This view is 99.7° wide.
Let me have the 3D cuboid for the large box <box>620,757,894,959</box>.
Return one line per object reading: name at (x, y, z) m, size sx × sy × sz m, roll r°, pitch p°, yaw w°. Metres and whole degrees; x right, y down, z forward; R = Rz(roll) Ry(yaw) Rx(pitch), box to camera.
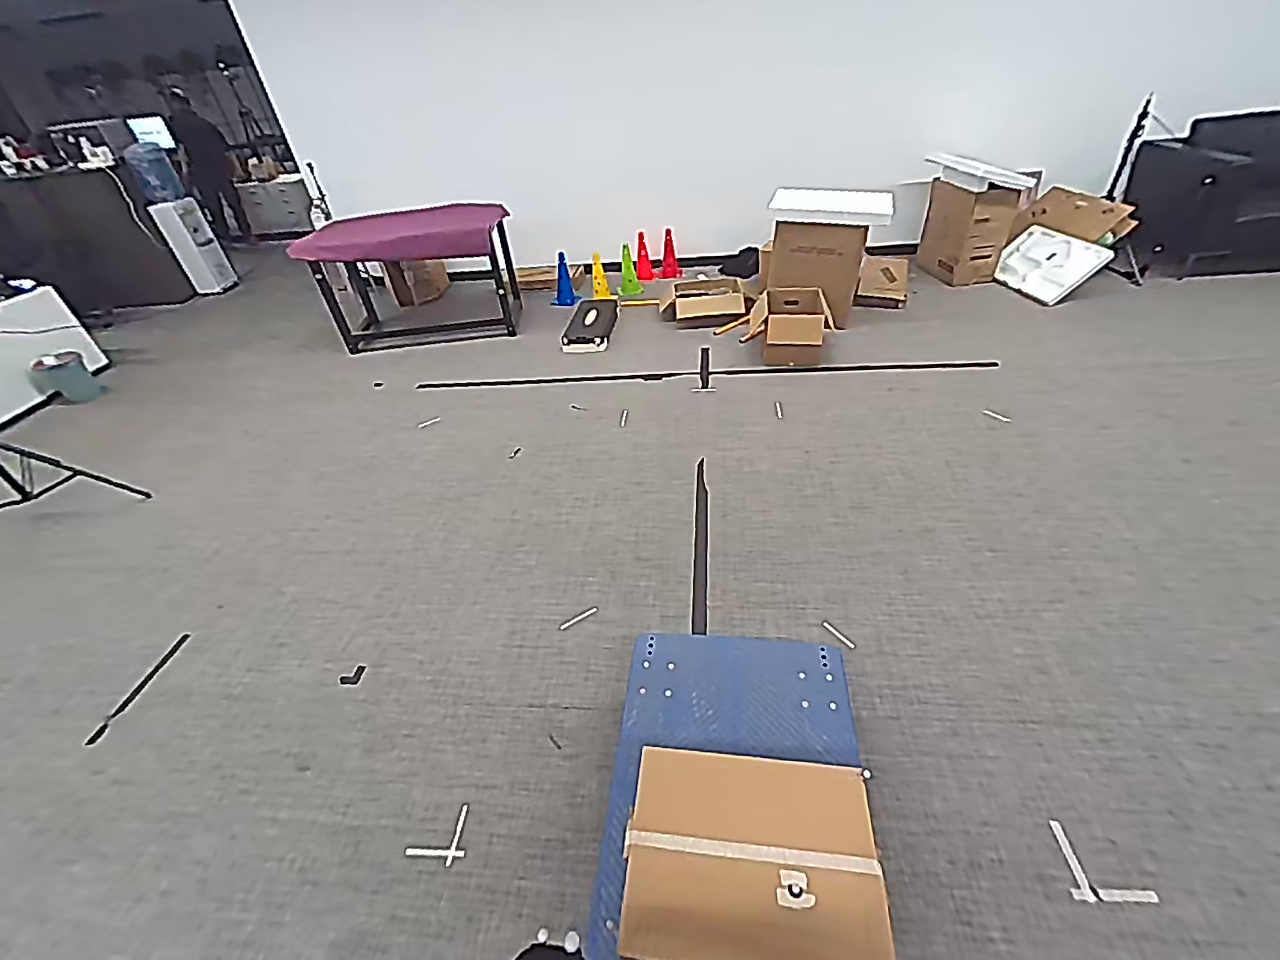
large box at (0.190, 0.741, 0.973) m, size 0.408 × 0.320 × 0.320 m, roll 2°, pitch 40°, yaw 8°
